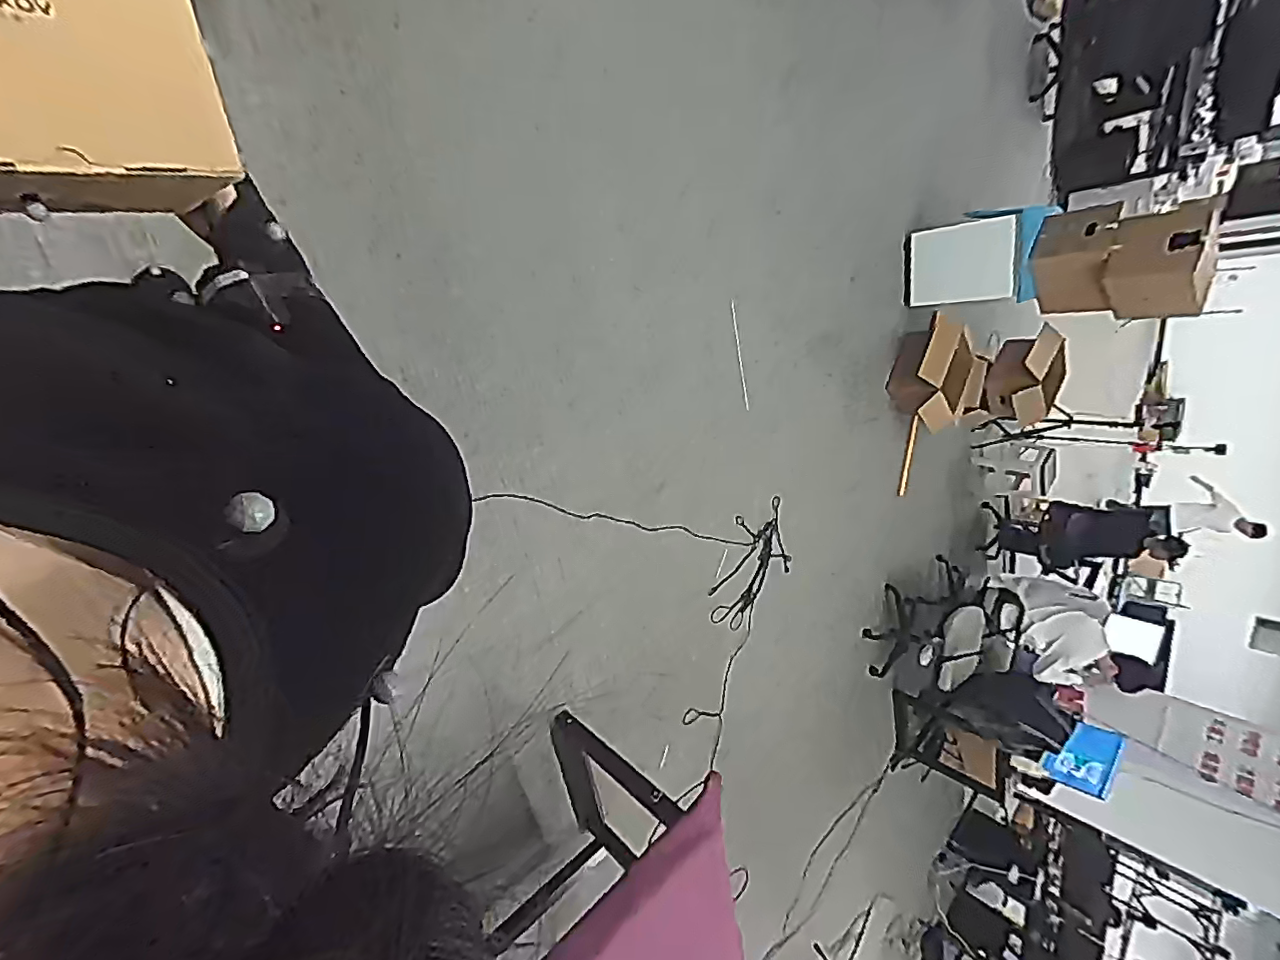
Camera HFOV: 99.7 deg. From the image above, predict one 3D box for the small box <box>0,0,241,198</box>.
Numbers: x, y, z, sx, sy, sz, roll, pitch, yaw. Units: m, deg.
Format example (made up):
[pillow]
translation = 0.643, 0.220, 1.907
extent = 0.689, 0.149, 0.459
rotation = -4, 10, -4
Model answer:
[small box]
translation = -0.366, -0.267, 0.298
extent = 0.168, 0.176, 0.179
rotation = -28, 121, -43
